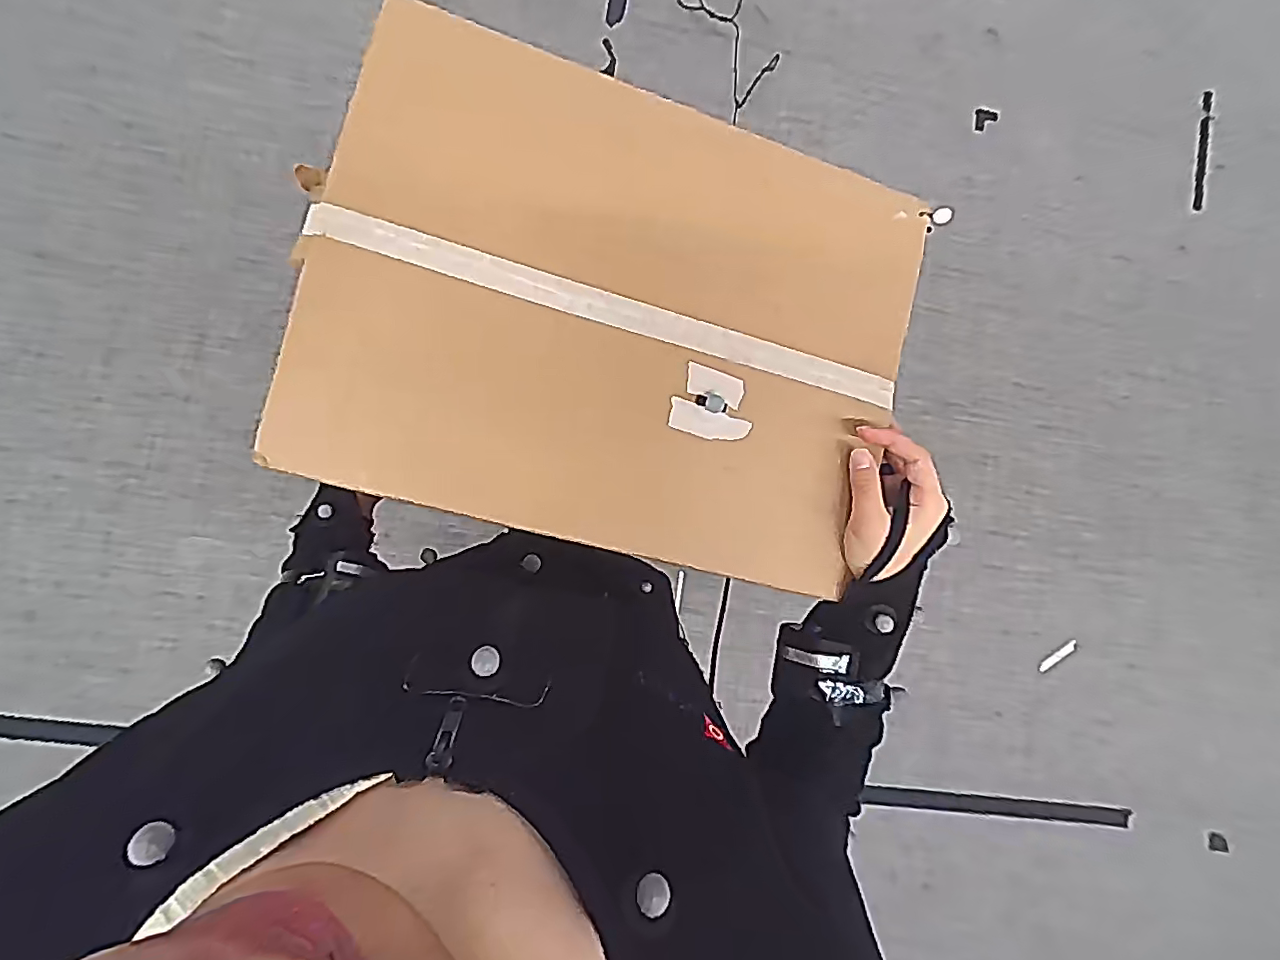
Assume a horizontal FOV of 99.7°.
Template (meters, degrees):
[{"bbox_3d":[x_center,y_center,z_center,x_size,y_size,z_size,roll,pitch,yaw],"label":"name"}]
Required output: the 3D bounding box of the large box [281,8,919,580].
[{"bbox_3d":[-0.032,-0.113,0.523,0.408,0.320,0.320,15,87,-12],"label":"large box"}]
